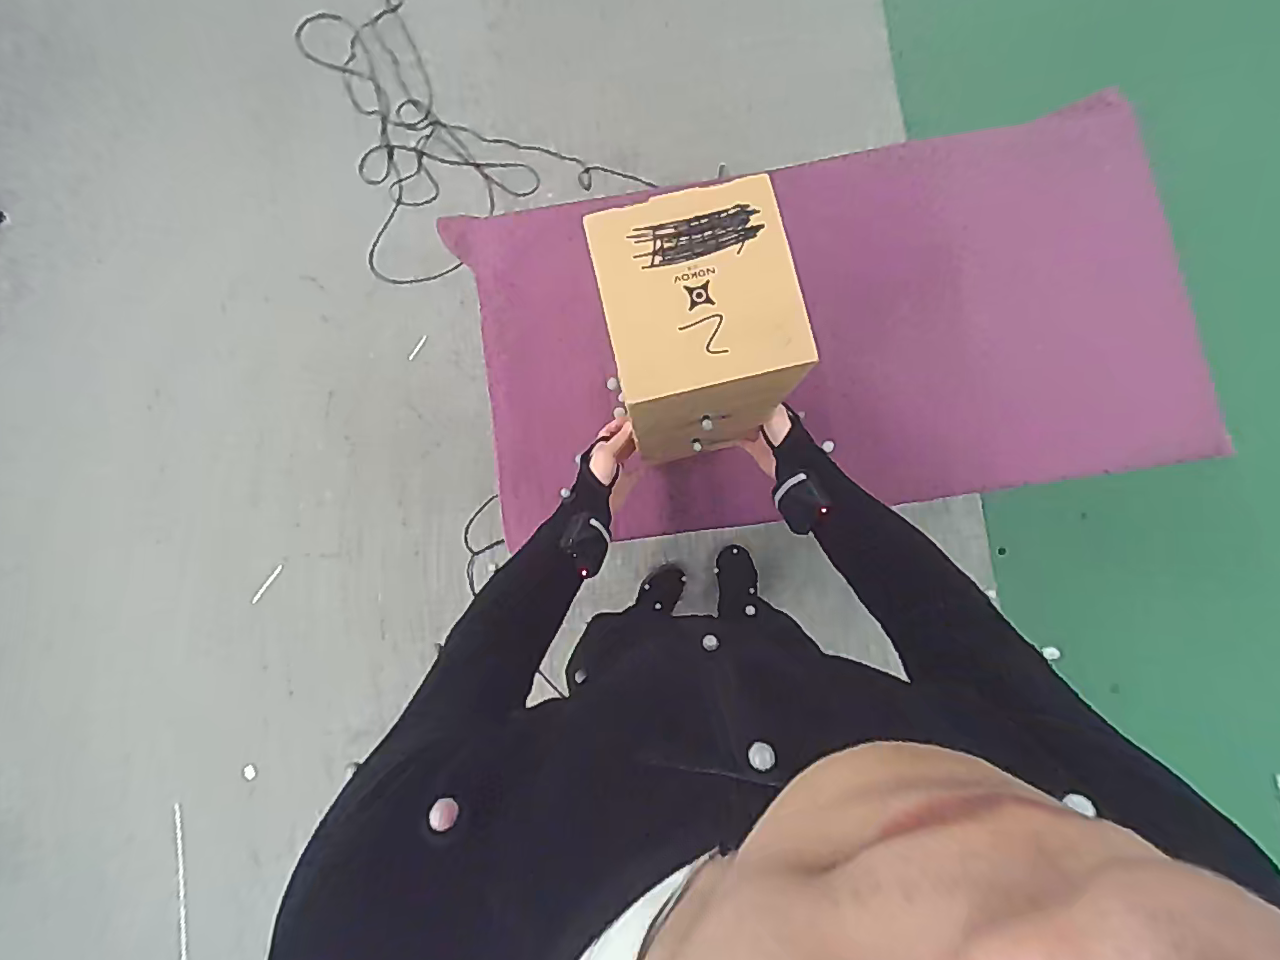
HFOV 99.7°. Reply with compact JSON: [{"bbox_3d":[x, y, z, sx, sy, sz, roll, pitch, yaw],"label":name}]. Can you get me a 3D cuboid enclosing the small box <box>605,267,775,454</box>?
[{"bbox_3d":[0.059,-0.135,0.688,0.168,0.176,0.179,-12,83,0],"label":"small box"}]
